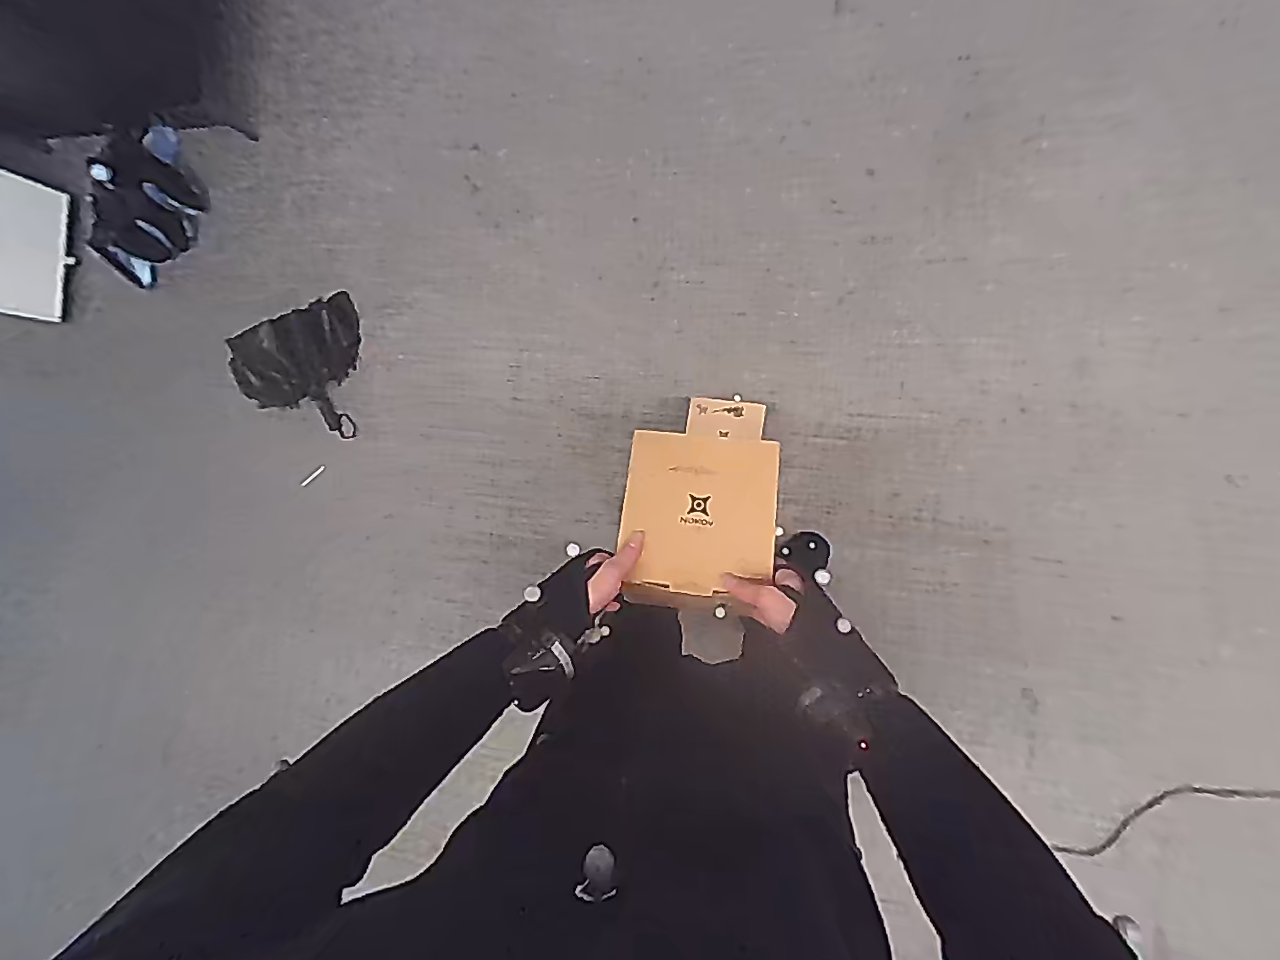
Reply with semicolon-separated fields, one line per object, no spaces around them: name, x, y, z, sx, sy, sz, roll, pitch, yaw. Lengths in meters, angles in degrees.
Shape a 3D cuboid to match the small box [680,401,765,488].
small box;0.198;-0.084;1.263;0.168;0.176;0.179;8;95;12
